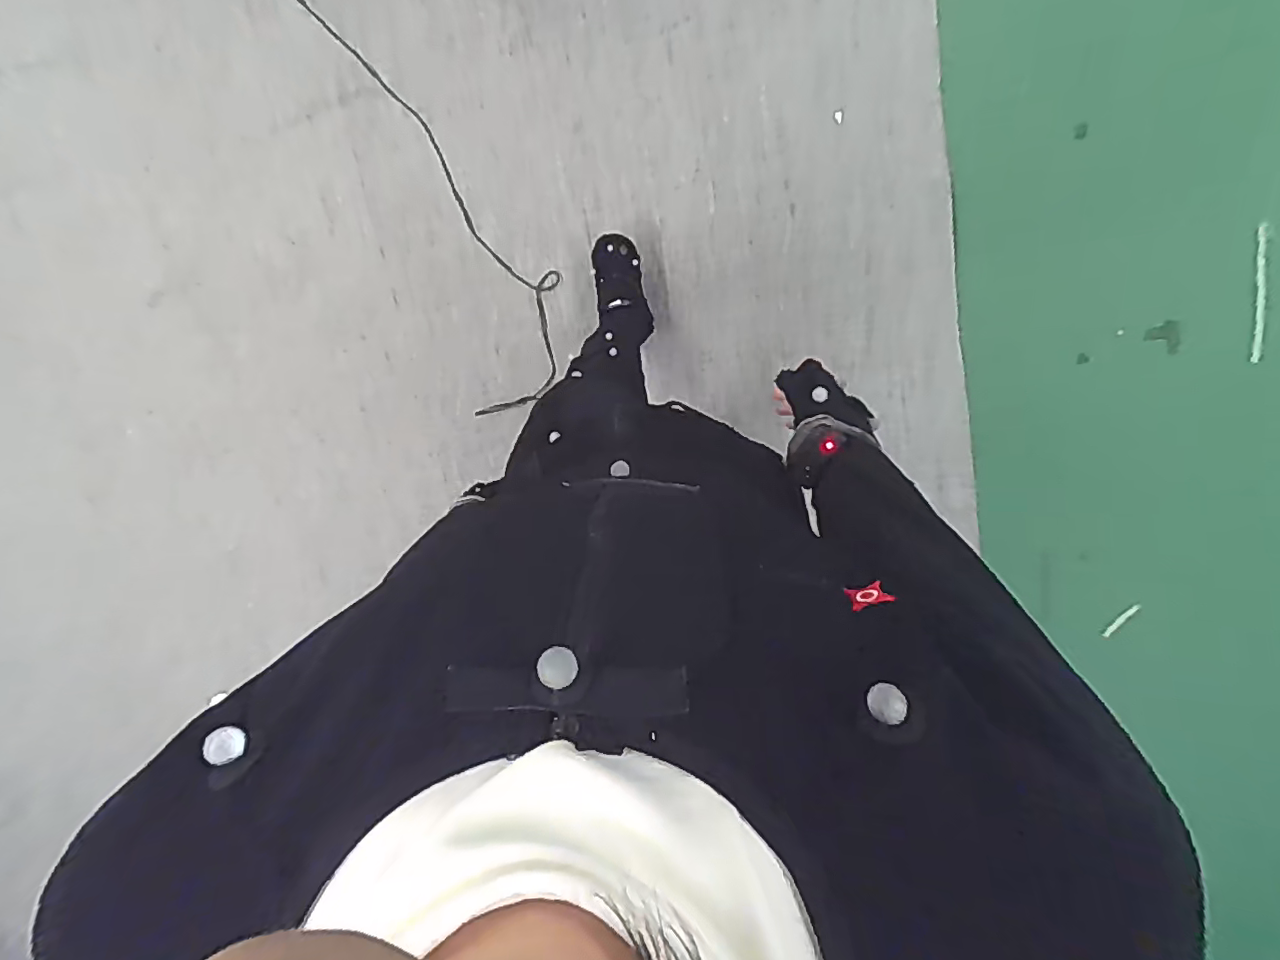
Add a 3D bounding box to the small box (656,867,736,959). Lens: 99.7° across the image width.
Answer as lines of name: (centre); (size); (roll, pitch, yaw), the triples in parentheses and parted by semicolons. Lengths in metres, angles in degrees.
small box: (0.146, 1.152, 1.402); (0.179, 0.176, 0.168); (-14, 101, 6)
